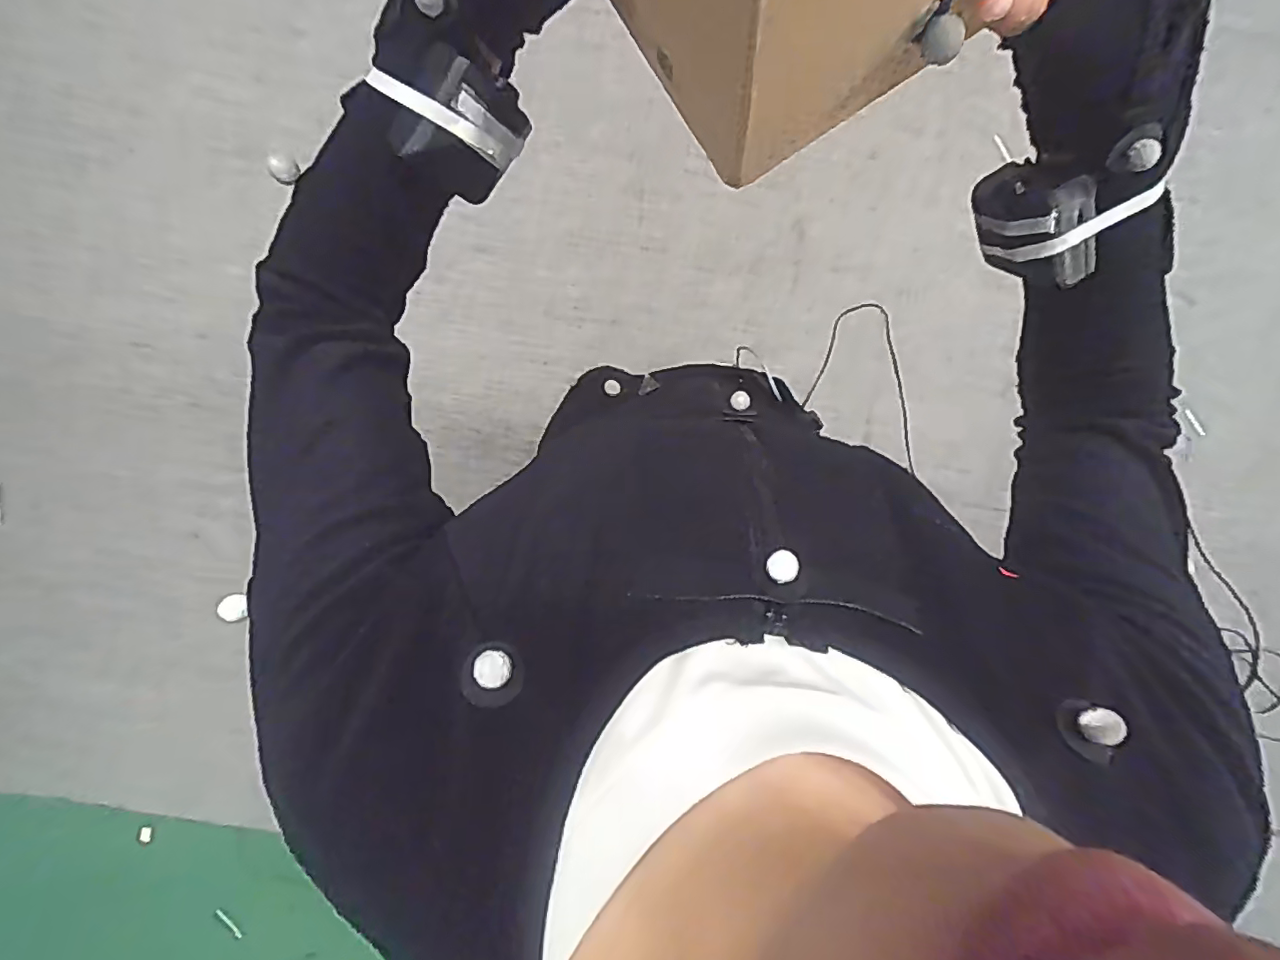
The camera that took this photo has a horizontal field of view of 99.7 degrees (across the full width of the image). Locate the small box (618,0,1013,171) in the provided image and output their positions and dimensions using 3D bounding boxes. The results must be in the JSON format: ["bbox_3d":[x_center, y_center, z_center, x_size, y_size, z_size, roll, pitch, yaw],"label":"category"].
[{"bbox_3d":[0.068,-0.249,0.170,0.179,0.176,0.168,-31,89,6],"label":"small box"}]
